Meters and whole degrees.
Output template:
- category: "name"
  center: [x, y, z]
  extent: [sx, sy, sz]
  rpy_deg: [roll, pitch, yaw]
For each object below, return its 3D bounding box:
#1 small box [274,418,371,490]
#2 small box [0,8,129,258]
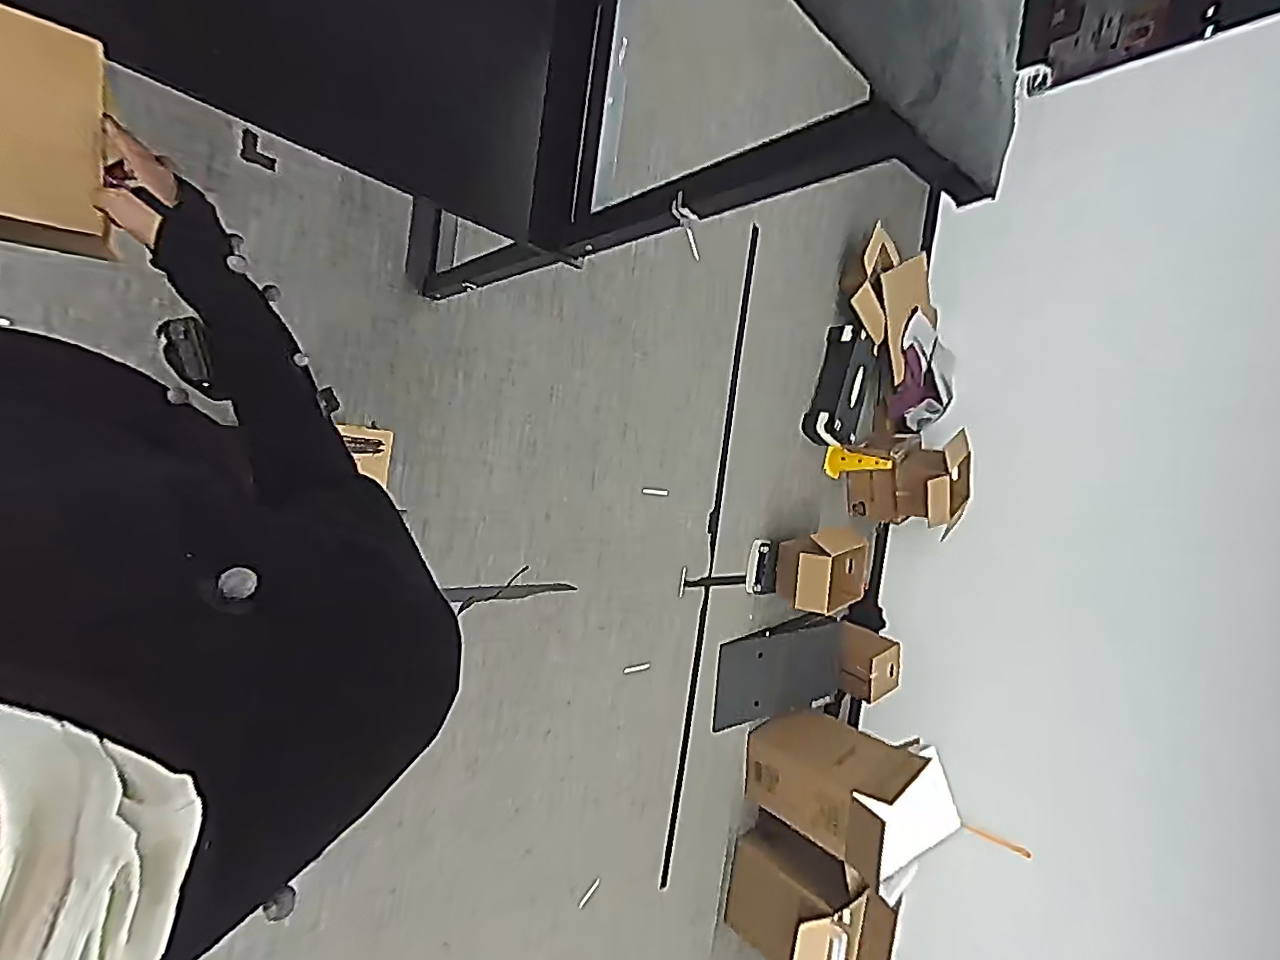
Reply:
- category: "small box"
  center: [-0.821, -0.069, 1.396]
  extent: [0.179, 0.176, 0.168]
  rpy_deg: [4, 94, -43]
- category: "small box"
  center: [-0.584, -0.310, 0.487]
  extent: [0.179, 0.176, 0.168]
  rpy_deg: [0, 99, -39]
